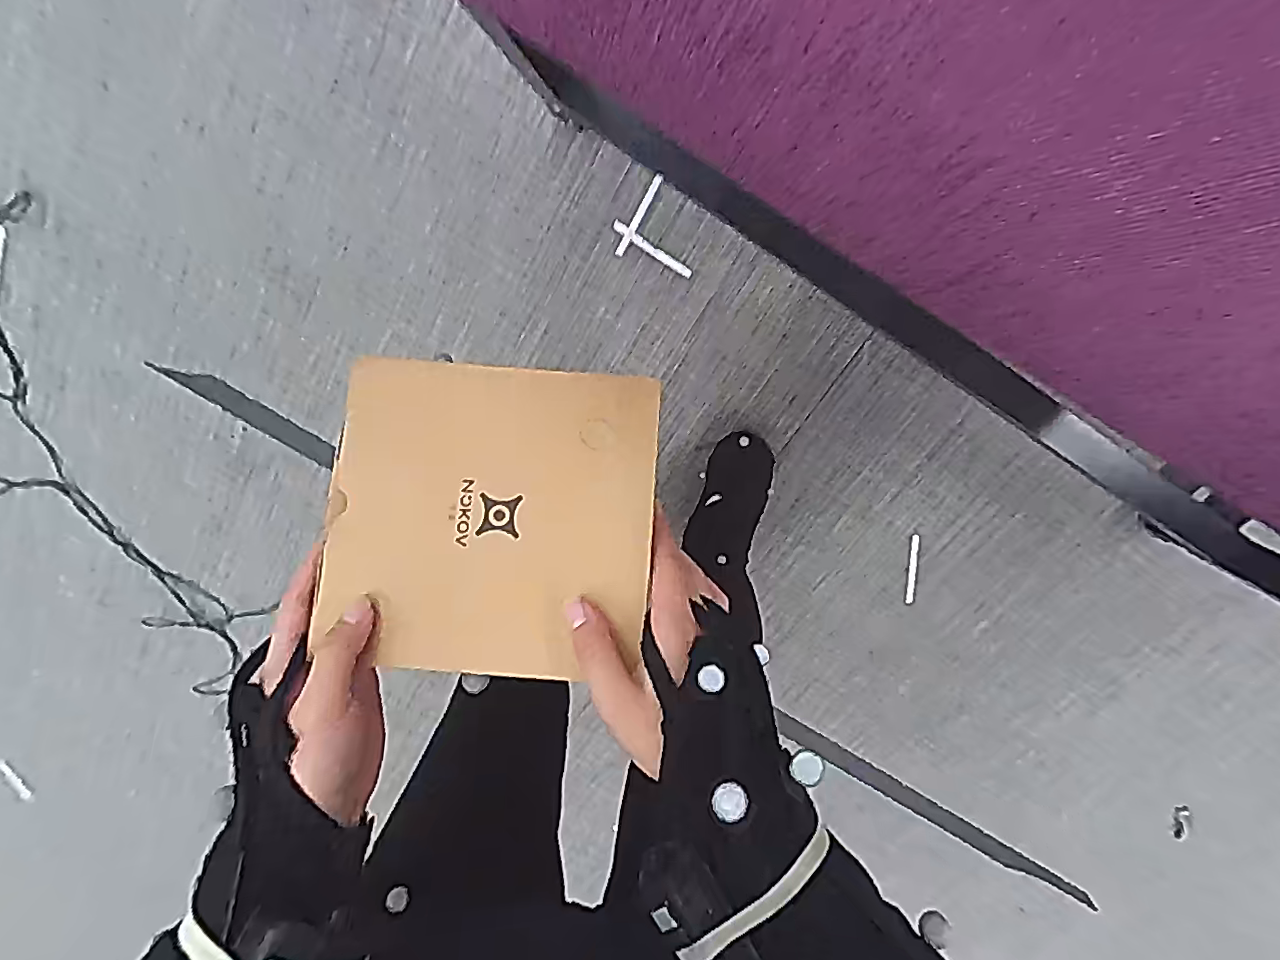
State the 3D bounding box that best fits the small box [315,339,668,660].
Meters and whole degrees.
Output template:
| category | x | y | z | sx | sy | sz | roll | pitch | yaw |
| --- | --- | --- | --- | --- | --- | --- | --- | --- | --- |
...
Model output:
| category | x | y | z | sx | sy | sz | roll | pitch | yaw |
| --- | --- | --- | --- | --- | --- | --- | --- | --- | --- |
| small box | -0.078 | 0.019 | 0.370 | 0.179 | 0.176 | 0.168 | 4 | 80 | 0 |
